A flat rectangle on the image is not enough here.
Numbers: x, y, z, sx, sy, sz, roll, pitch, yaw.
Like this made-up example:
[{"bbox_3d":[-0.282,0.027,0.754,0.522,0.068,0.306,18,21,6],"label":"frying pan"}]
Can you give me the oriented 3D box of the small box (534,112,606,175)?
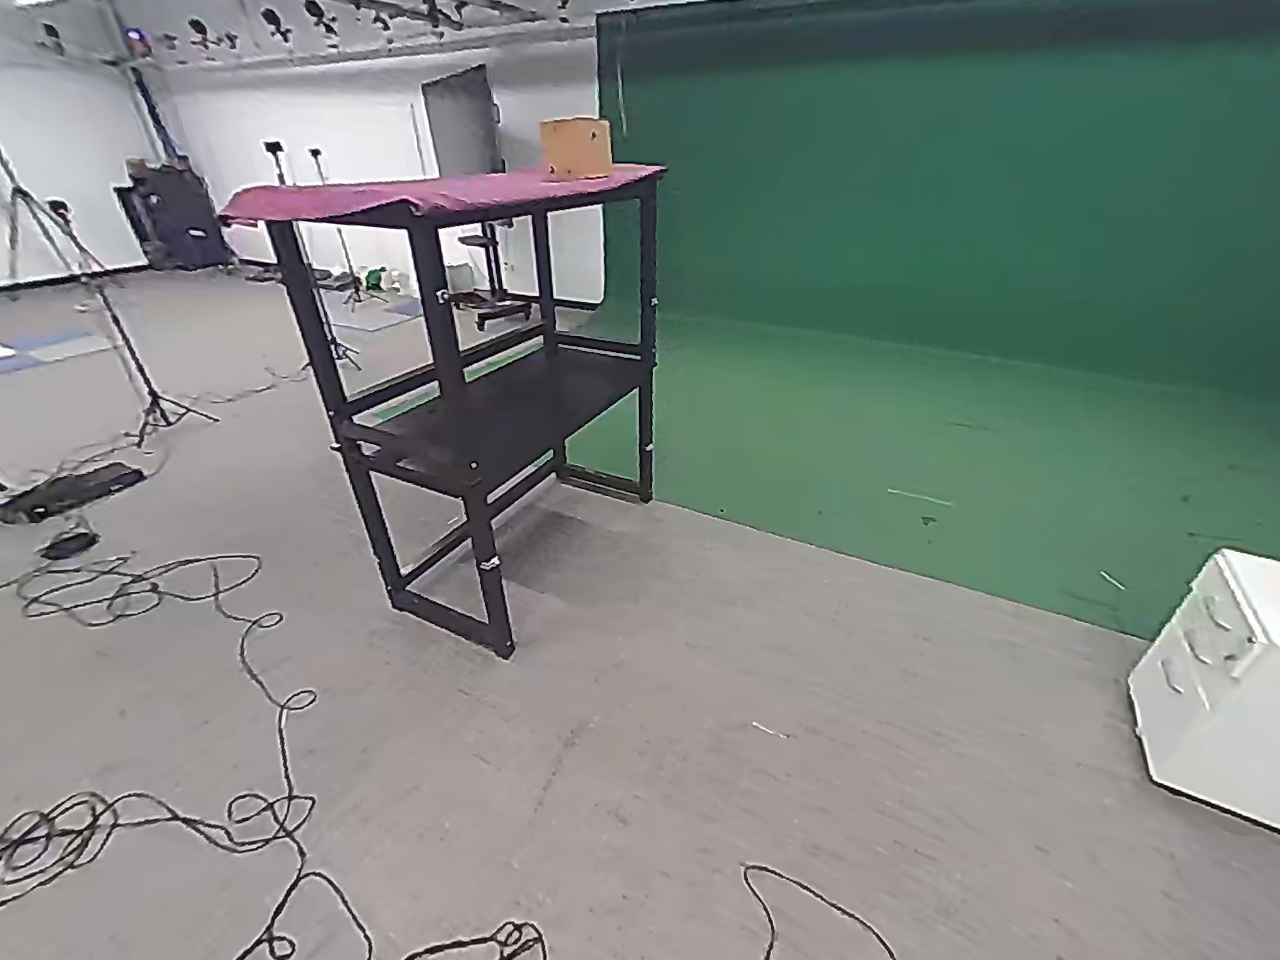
[{"bbox_3d":[-0.226,-1.118,1.802,0.168,0.176,0.179,14,35,25],"label":"small box"}]
